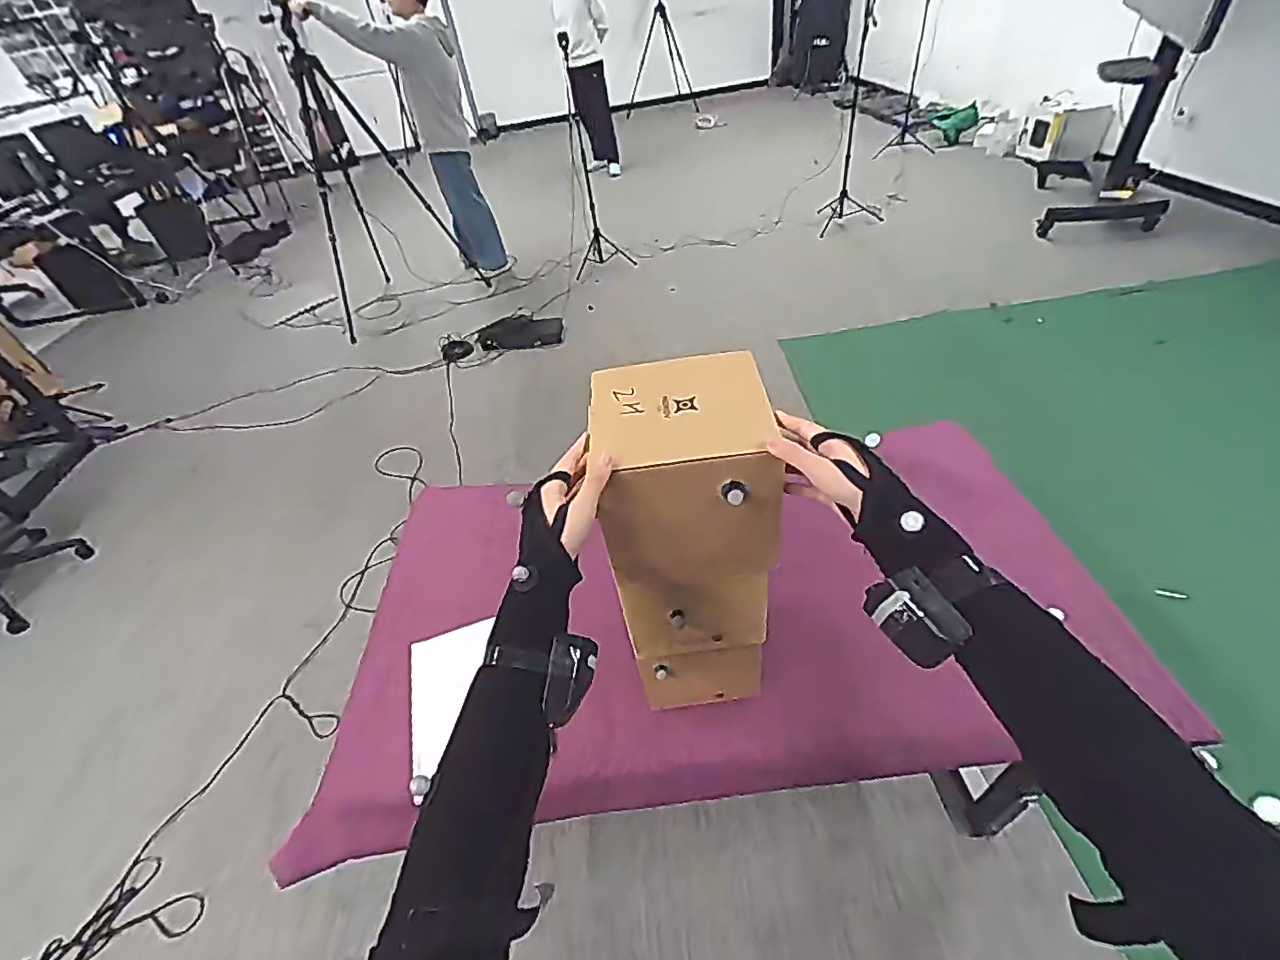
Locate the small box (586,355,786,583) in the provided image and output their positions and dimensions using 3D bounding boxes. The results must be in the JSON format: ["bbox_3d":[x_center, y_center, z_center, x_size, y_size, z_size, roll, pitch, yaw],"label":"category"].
[{"bbox_3d":[0.047,-0.009,0.577,0.179,0.176,0.168,-7,43,4],"label":"small box"}]

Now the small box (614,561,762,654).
[{"bbox_3d":[0.059,0.107,0.695,0.168,0.176,0.179,-8,42,2],"label":"small box"}]
